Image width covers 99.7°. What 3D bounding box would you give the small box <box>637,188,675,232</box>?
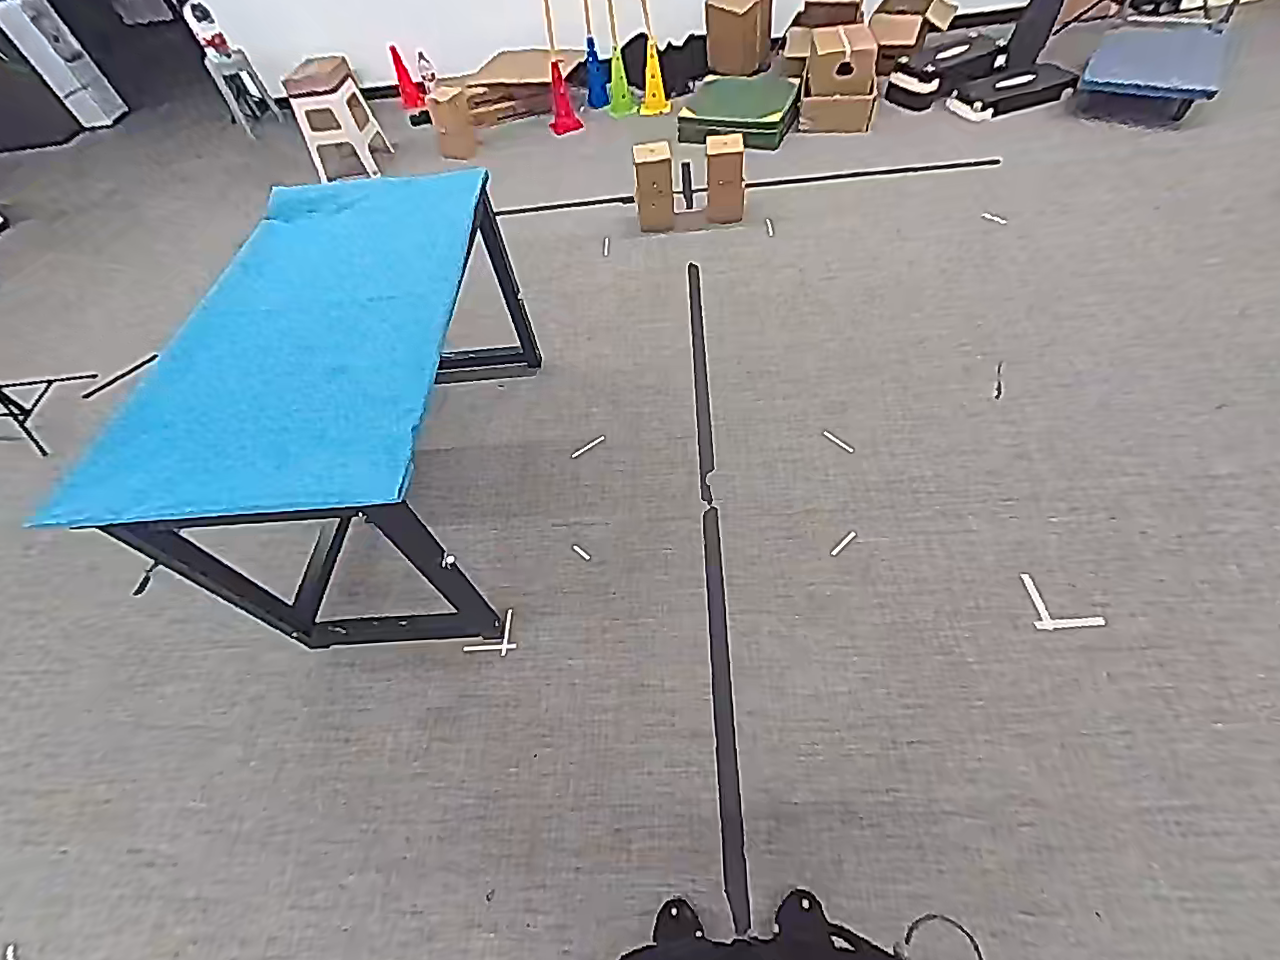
[{"bbox_3d":[0.080,-1.360,2.695,0.179,0.176,0.168,-5,54,2],"label":"small box"}]

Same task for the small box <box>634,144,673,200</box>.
[{"bbox_3d":[0.064,-1.460,2.565,0.168,0.176,0.179,-7,54,3],"label":"small box"}]

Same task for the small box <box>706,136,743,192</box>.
[{"bbox_3d":[0.397,-1.489,2.549,0.168,0.176,0.179,-1,55,7],"label":"small box"}]

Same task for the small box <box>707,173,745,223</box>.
[{"bbox_3d":[0.422,-1.398,2.682,0.179,0.176,0.168,1,54,6],"label":"small box"}]
